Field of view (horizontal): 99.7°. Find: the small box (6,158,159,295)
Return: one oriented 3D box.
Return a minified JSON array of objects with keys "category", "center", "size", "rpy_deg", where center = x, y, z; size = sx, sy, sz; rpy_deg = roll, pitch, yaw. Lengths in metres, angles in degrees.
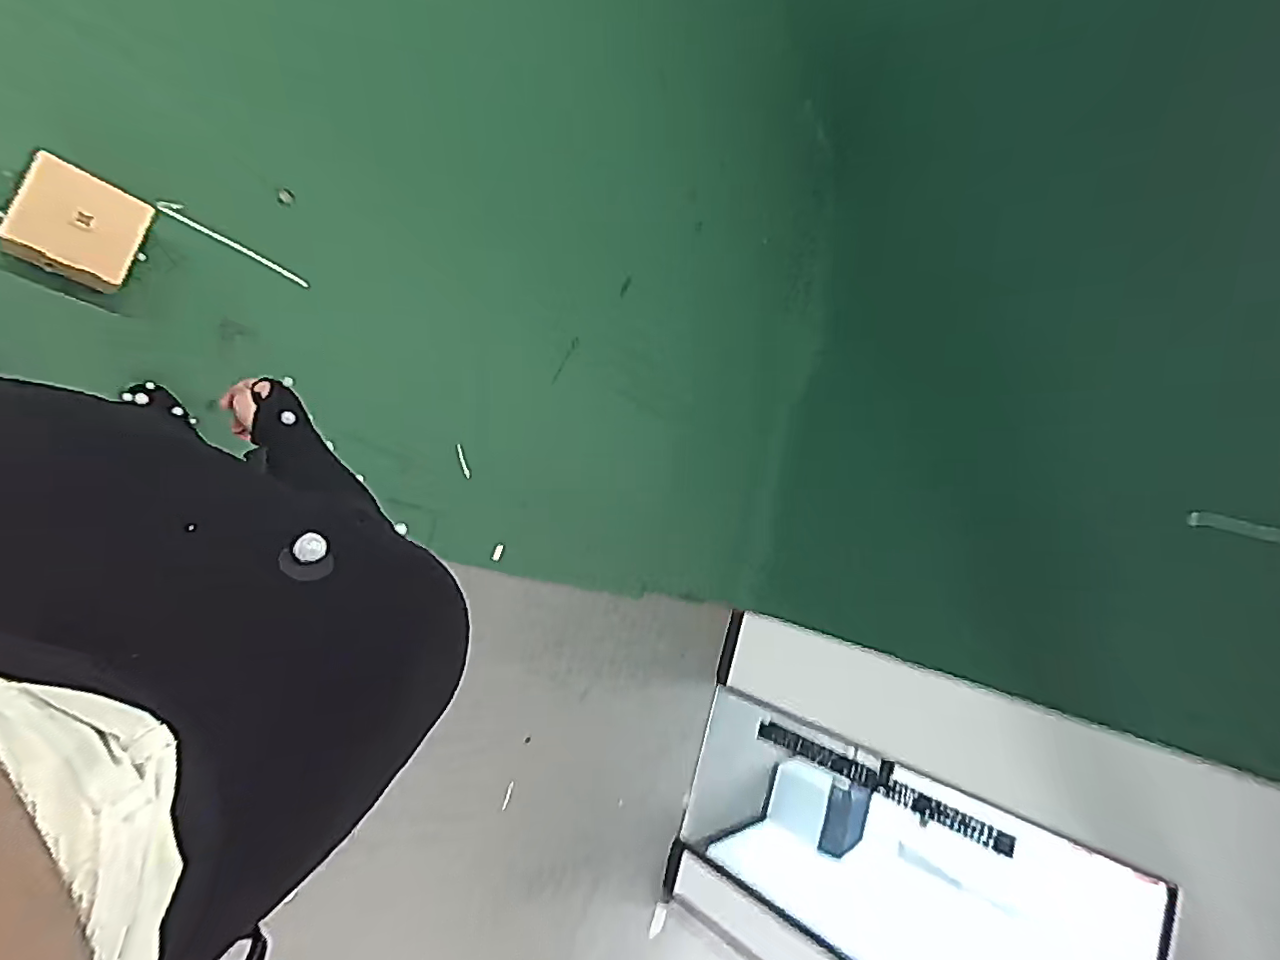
[{"category":"small box","center":[-1.106,-0.490,1.073],"size":[0.168,0.176,0.179],"rpy_deg":[25,79,-48]}]
